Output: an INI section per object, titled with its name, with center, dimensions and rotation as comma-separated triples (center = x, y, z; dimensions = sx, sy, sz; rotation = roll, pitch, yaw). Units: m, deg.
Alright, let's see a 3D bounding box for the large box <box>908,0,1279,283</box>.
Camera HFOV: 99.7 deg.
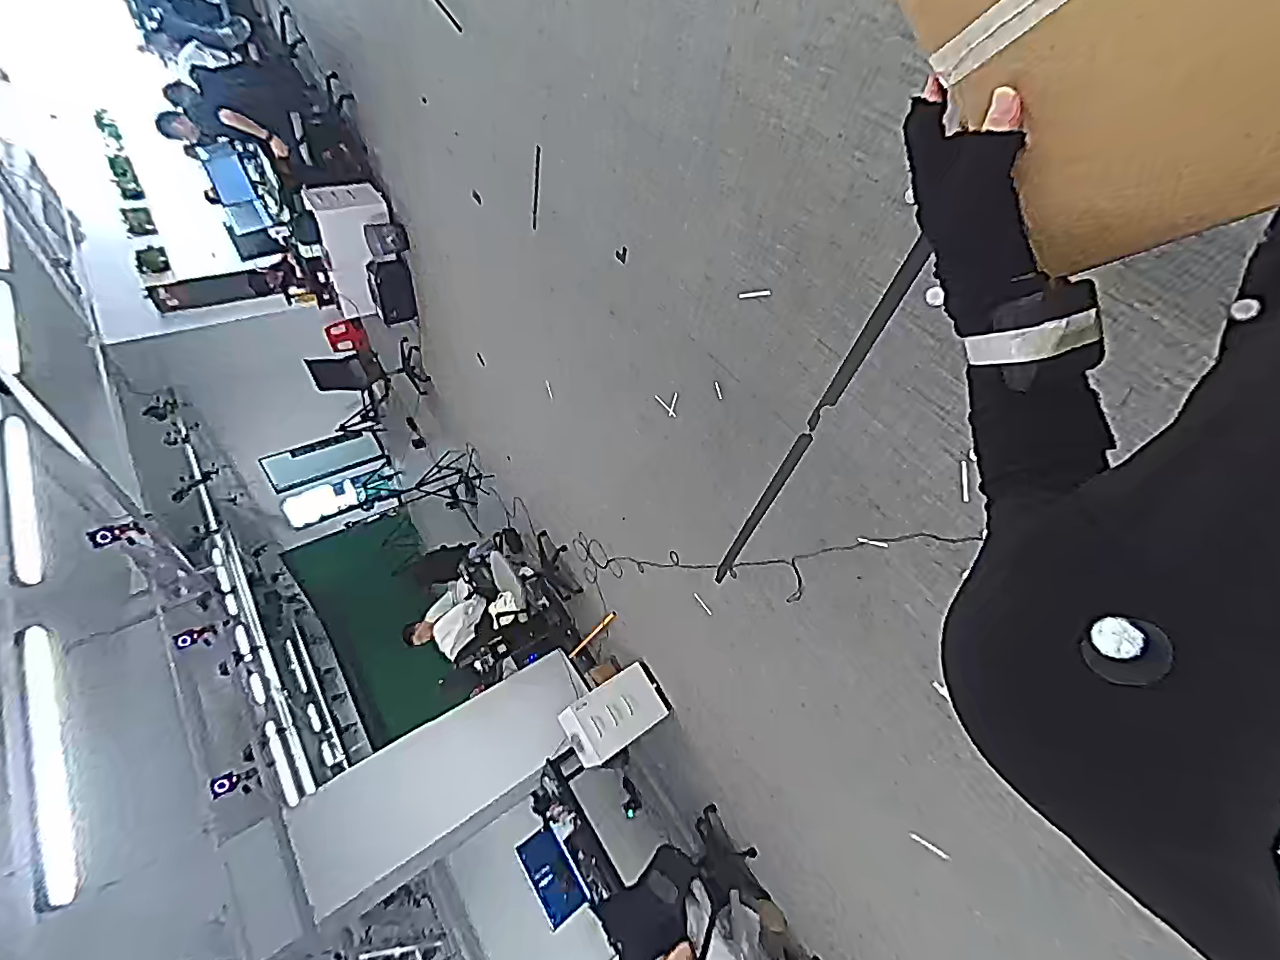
[large box]
center = 0.375, -0.360, 0.216
dimensions = 0.320, 0.320, 0.408
rotation = 47, 158, -17
